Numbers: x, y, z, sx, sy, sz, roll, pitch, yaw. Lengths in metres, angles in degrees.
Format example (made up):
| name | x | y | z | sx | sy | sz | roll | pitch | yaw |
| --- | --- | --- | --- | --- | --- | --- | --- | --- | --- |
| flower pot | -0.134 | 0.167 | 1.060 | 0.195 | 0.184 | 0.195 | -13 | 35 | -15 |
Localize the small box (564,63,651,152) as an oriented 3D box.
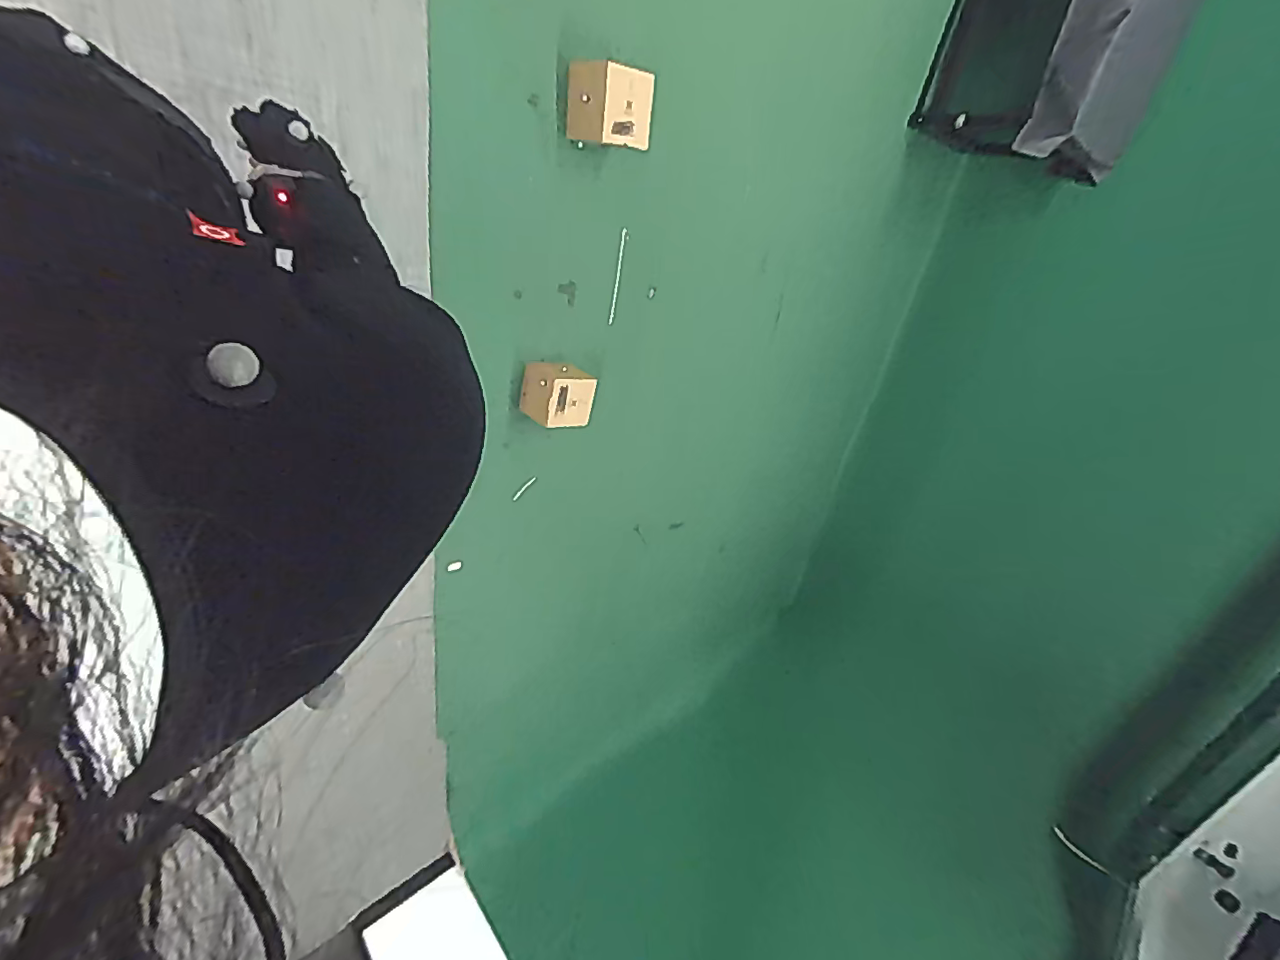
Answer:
| name | x | y | z | sx | sy | sz | roll | pitch | yaw |
| --- | --- | --- | --- | --- | --- | --- | --- | --- | --- |
| small box | -0.094 | -1.012 | 1.477 | 0.168 | 0.176 | 0.179 | -19 | 128 | -39 |
